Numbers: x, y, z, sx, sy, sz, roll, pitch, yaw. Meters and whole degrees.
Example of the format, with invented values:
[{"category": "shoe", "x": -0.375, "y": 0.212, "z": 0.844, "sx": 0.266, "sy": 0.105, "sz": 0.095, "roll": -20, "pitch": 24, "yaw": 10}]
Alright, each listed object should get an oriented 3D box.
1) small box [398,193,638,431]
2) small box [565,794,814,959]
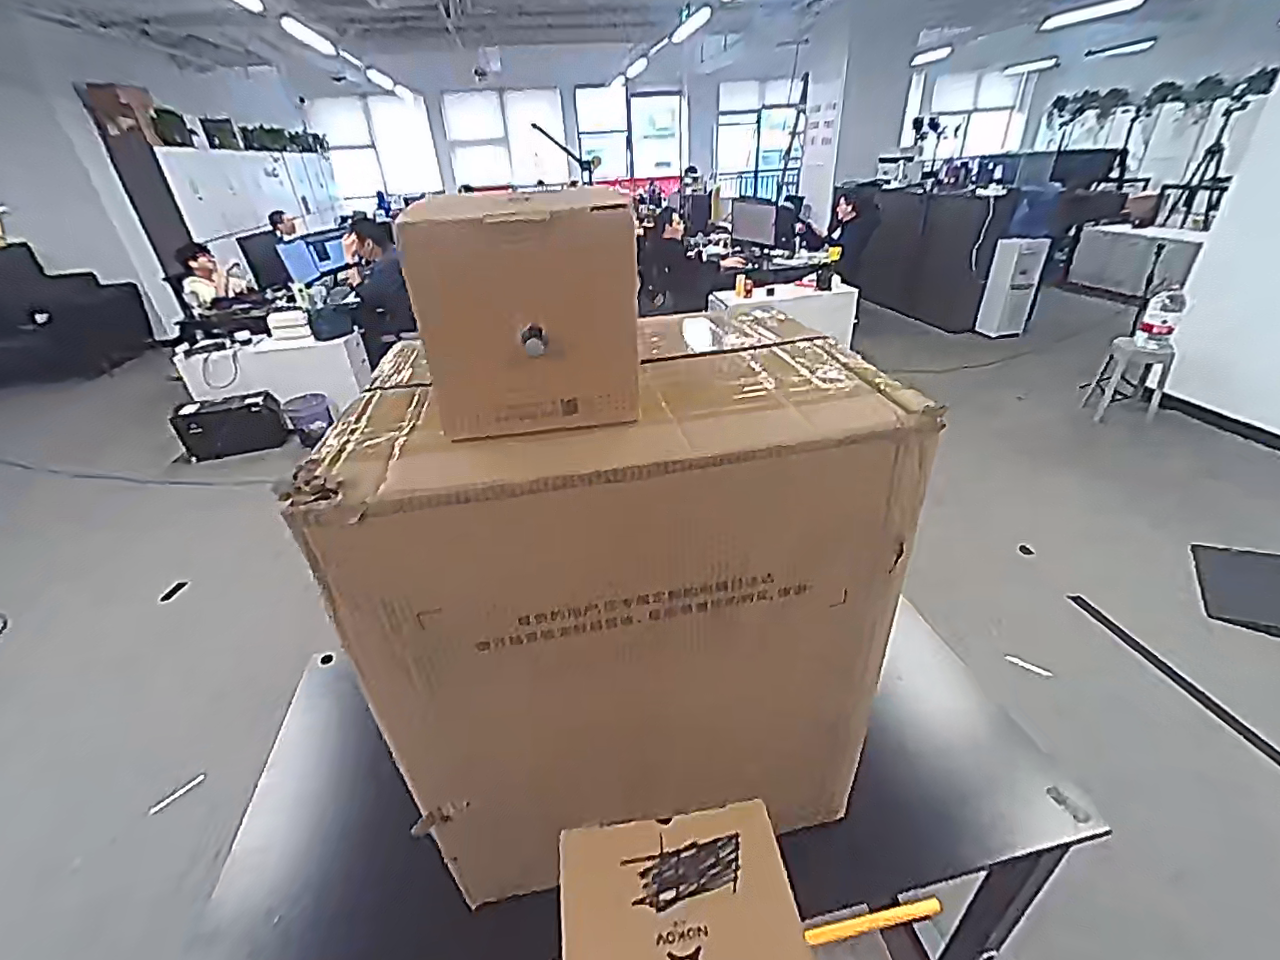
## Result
[{"category": "small box", "x": -0.097, "y": -0.152, "z": 0.491, "sx": 0.168, "sy": 0.176, "sz": 0.179, "roll": -7, "pitch": 33, "yaw": -7}, {"category": "small box", "x": 0.032, "y": 0.379, "z": 0.412, "sx": 0.168, "sy": 0.176, "sz": 0.179, "roll": -6, "pitch": 36, "yaw": -7}]
